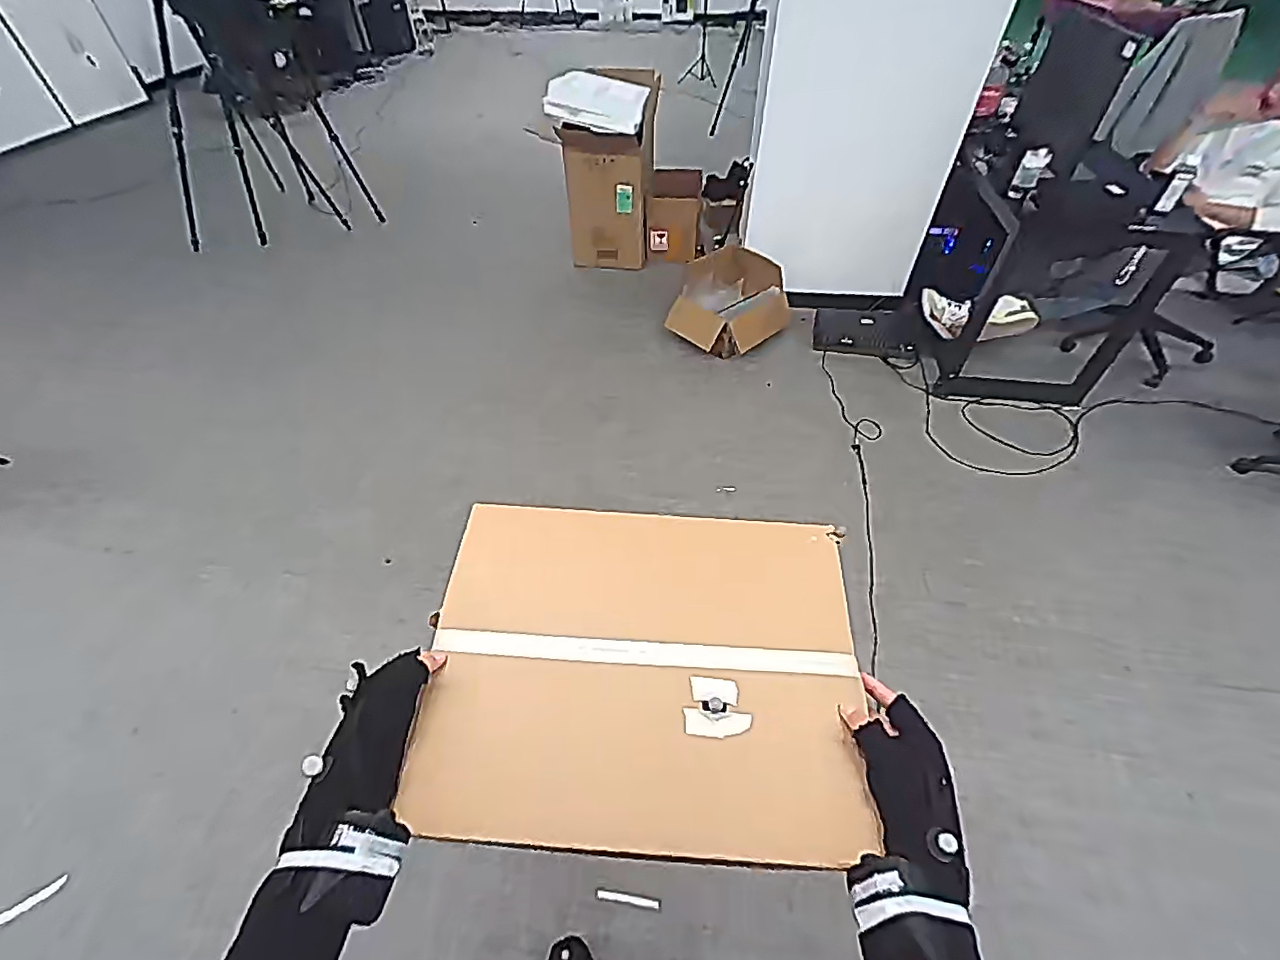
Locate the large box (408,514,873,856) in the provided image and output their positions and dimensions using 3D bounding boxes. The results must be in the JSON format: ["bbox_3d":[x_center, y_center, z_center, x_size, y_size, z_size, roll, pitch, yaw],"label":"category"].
[{"bbox_3d":[0.002,0.260,0.660,0.408,0.320,0.320,4,56,1],"label":"large box"}]
